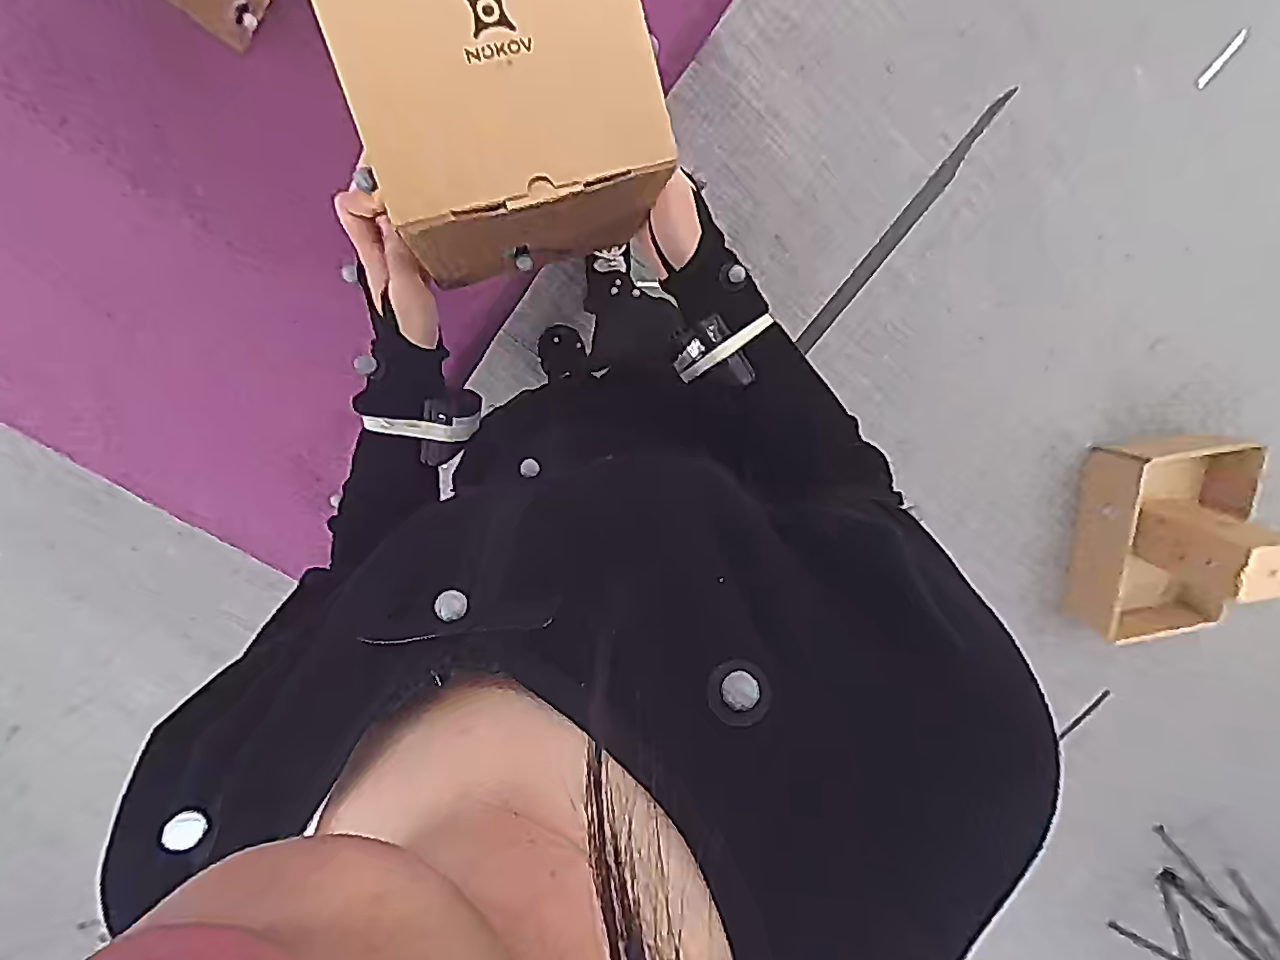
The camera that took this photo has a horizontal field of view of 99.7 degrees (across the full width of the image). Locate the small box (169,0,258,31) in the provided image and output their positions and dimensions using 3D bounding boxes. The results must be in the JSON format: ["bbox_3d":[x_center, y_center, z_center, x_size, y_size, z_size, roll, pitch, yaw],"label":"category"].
[{"bbox_3d":[-0.418,-0.525,0.443,0.179,0.176,0.168,35,100,-17],"label":"small box"}]

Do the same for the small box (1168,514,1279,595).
[{"bbox_3d":[1.663,0.205,1.524,0.179,0.176,0.168,-5,110,-6],"label":"small box"}]

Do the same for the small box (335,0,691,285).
[{"bbox_3d":[-0.086,-0.249,0.359,0.168,0.176,0.179,-18,103,-9],"label":"small box"}]
